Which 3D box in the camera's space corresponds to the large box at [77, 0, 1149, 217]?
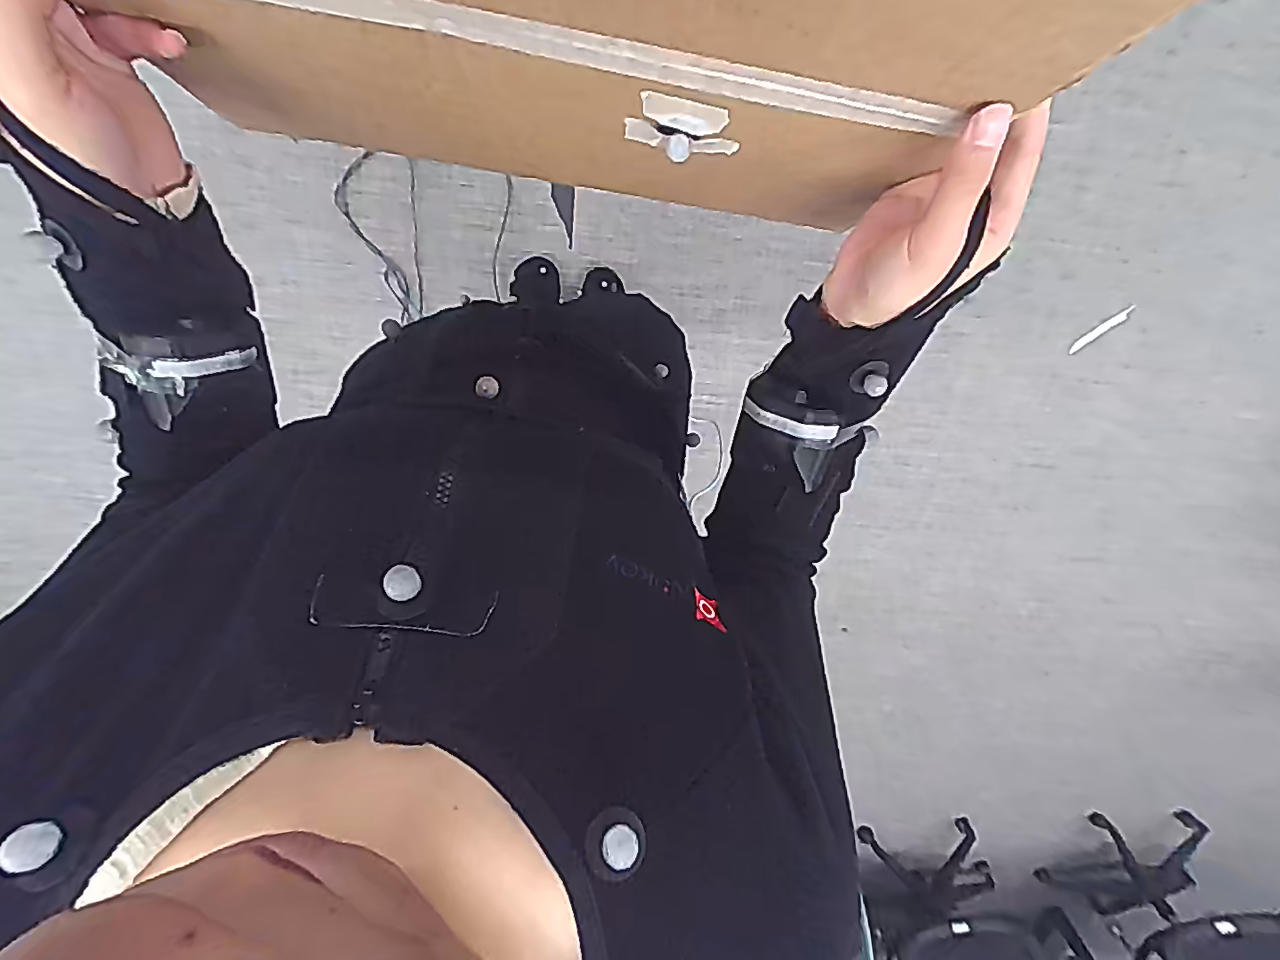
[{"bbox_3d":[-0.025,-0.332,0.196,0.408,0.320,0.320,6,99,-6],"label":"large box"}]
